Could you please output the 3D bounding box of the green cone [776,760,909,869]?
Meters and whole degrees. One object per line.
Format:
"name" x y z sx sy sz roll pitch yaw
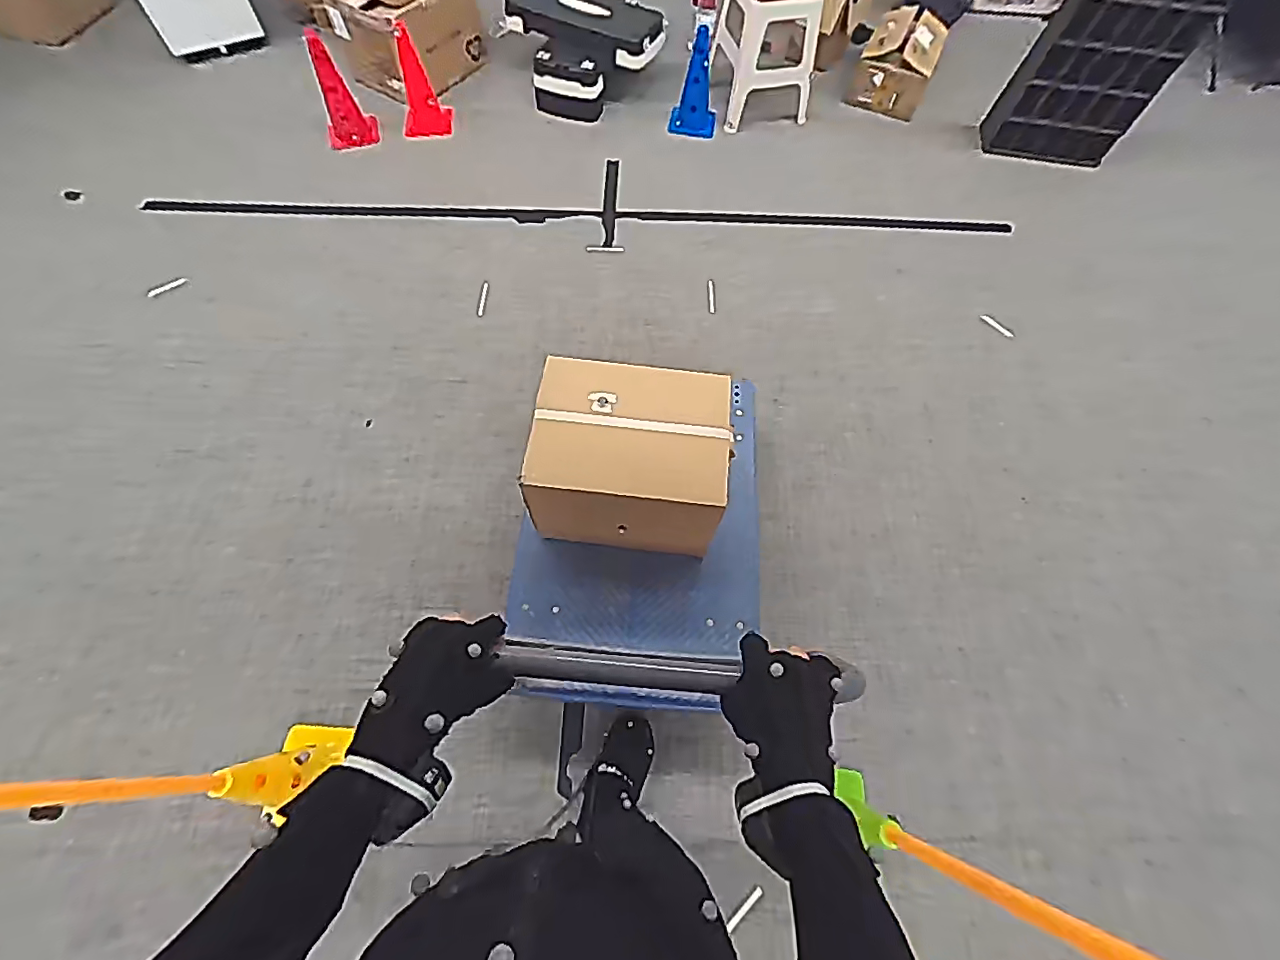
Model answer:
"green cone" 0.417 0.672 1.063 0.202 0.368 0.200 6 63 -1

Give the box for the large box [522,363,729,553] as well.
"large box" -0.019 -0.036 1.243 0.408 0.320 0.320 7 64 2
